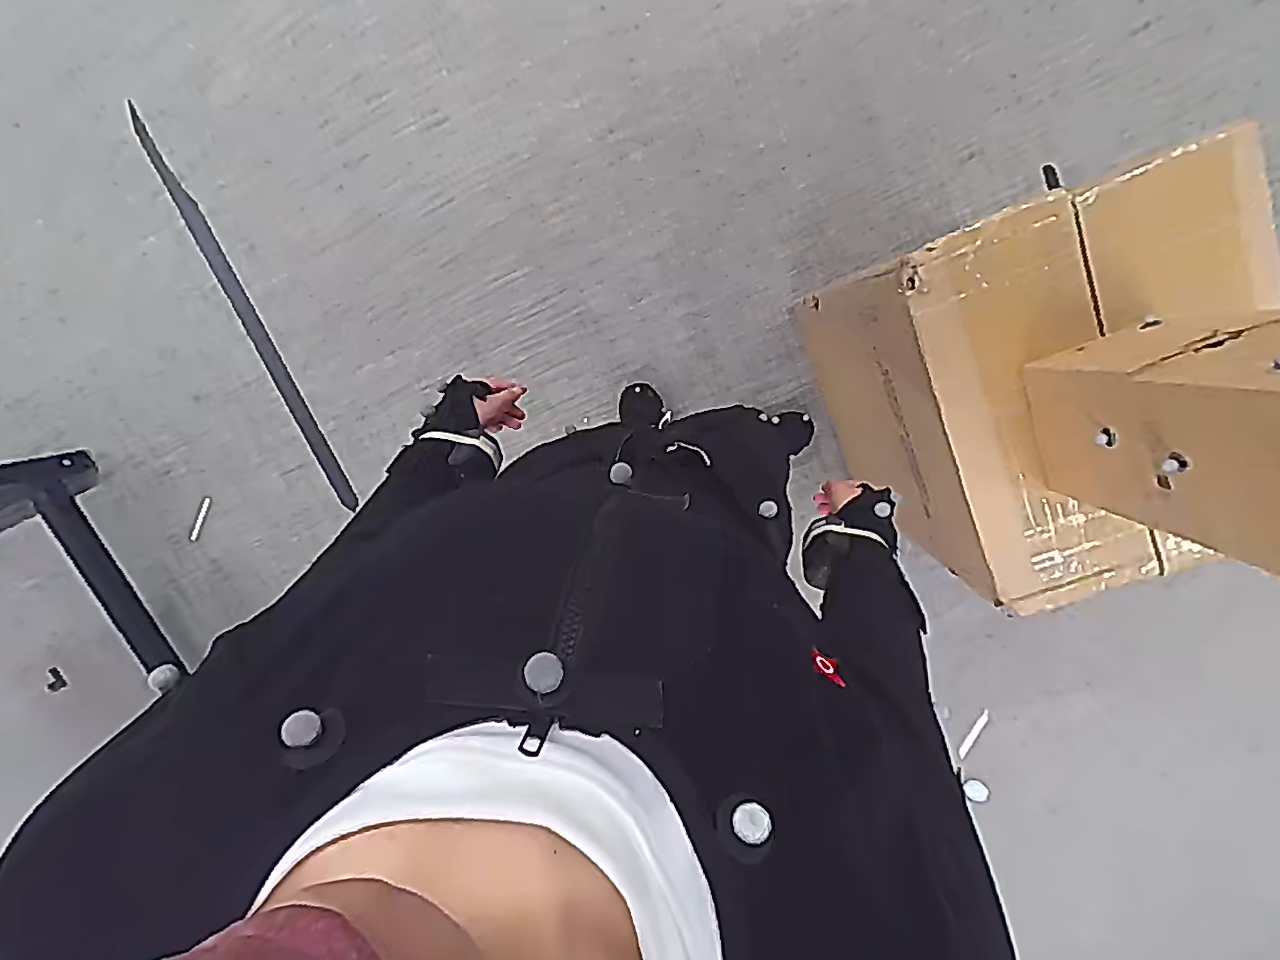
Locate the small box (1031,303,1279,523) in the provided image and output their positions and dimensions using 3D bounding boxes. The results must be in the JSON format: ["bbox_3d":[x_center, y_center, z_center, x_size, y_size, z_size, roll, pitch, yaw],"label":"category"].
[{"bbox_3d":[0.579,-0.078,0.602,0.168,0.176,0.179,-20,102,8],"label":"small box"}]
